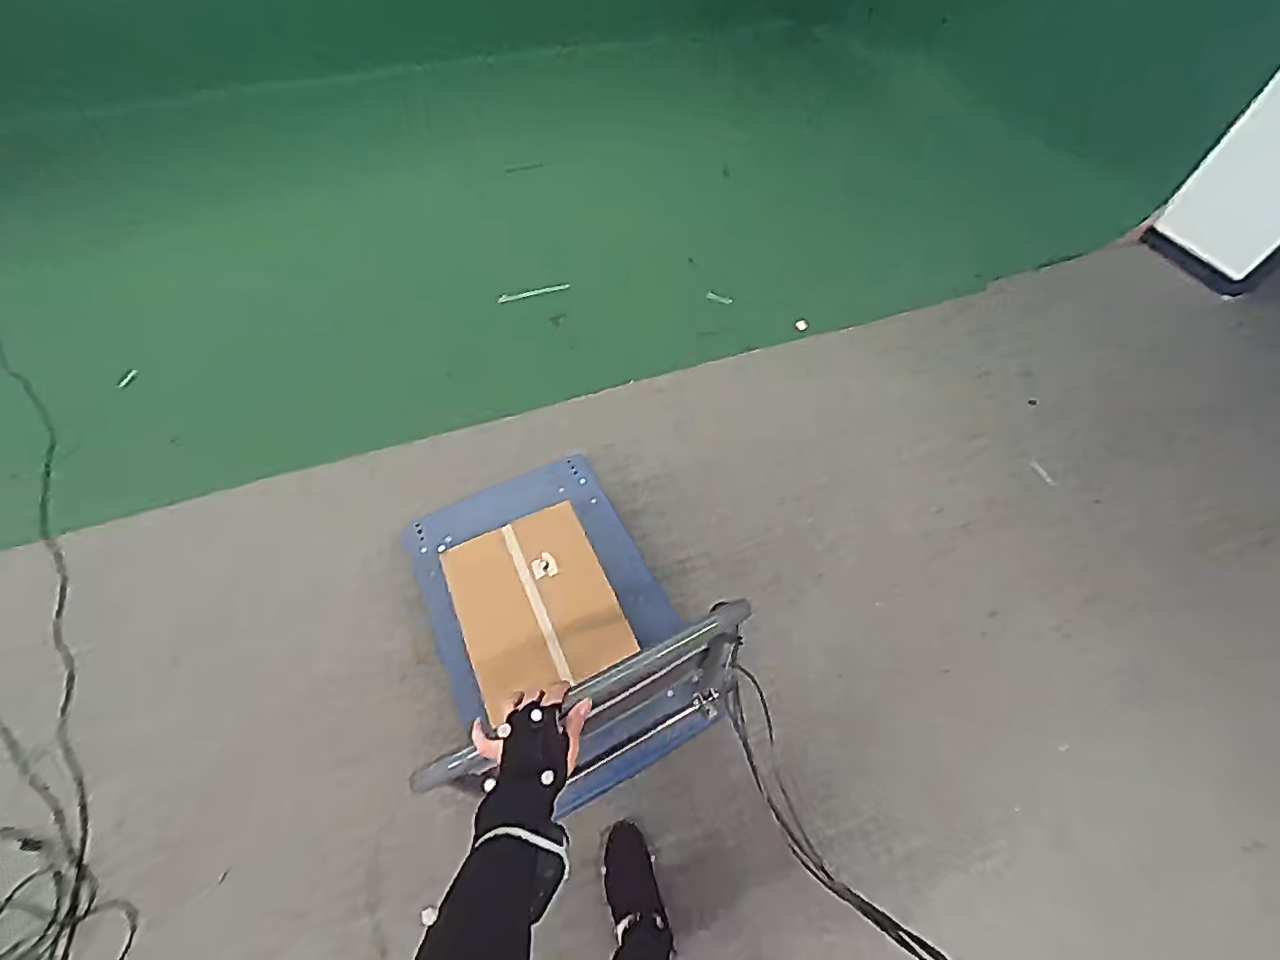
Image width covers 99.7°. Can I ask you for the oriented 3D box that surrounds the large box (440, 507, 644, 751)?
[{"bbox_3d":[-0.216,0.346,1.260,0.320,0.320,0.408,-22,59,-14],"label":"large box"}]
